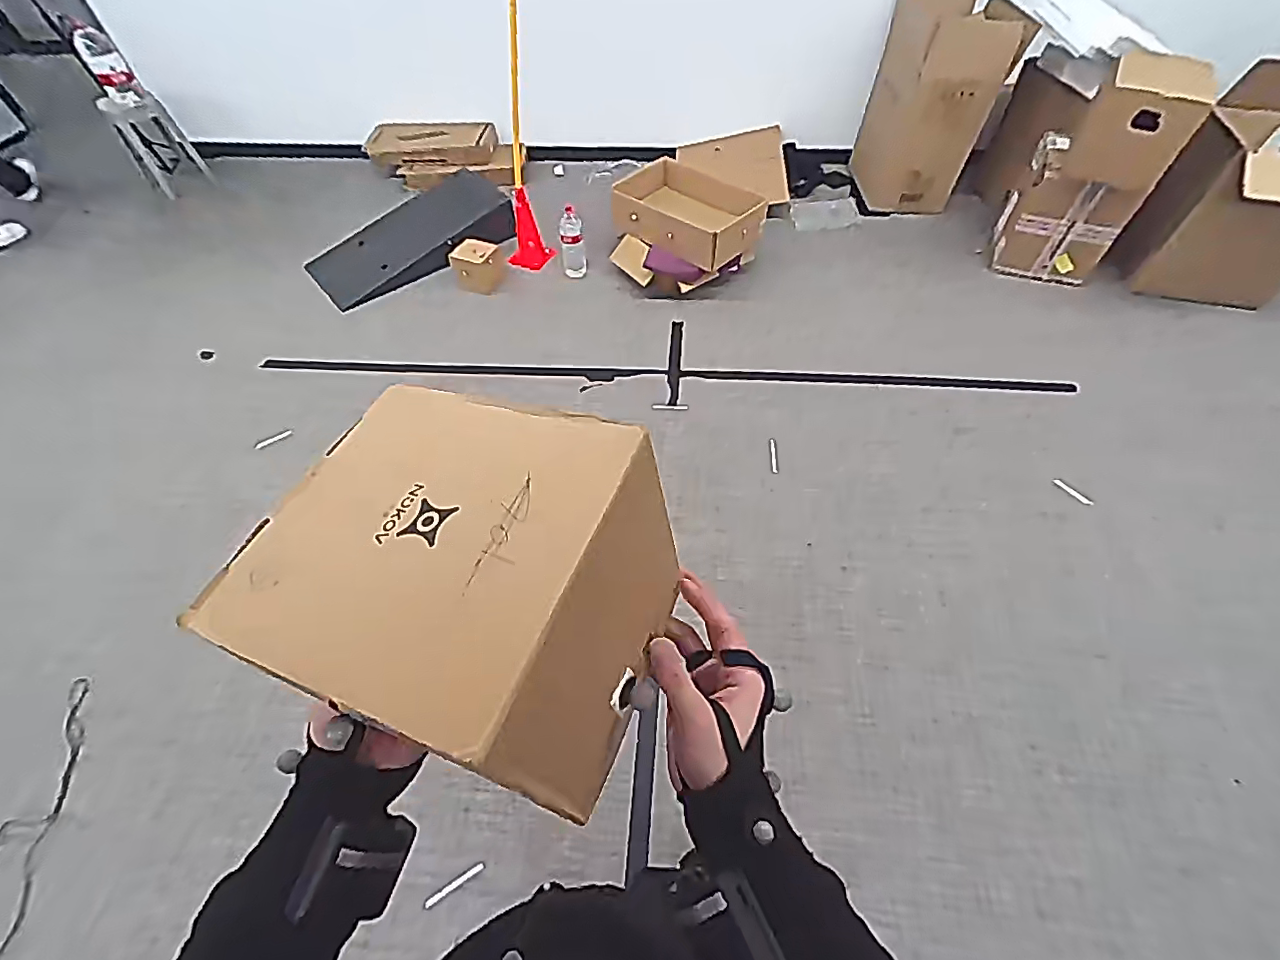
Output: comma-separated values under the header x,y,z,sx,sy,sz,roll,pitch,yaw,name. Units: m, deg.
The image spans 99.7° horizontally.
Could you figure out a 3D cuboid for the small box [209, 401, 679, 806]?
x,y,z,sx,sy,sz,roll,pitch,yaw,name
-0.089,0.076,0.334,0.179,0.176,0.168,11,55,21,small box
